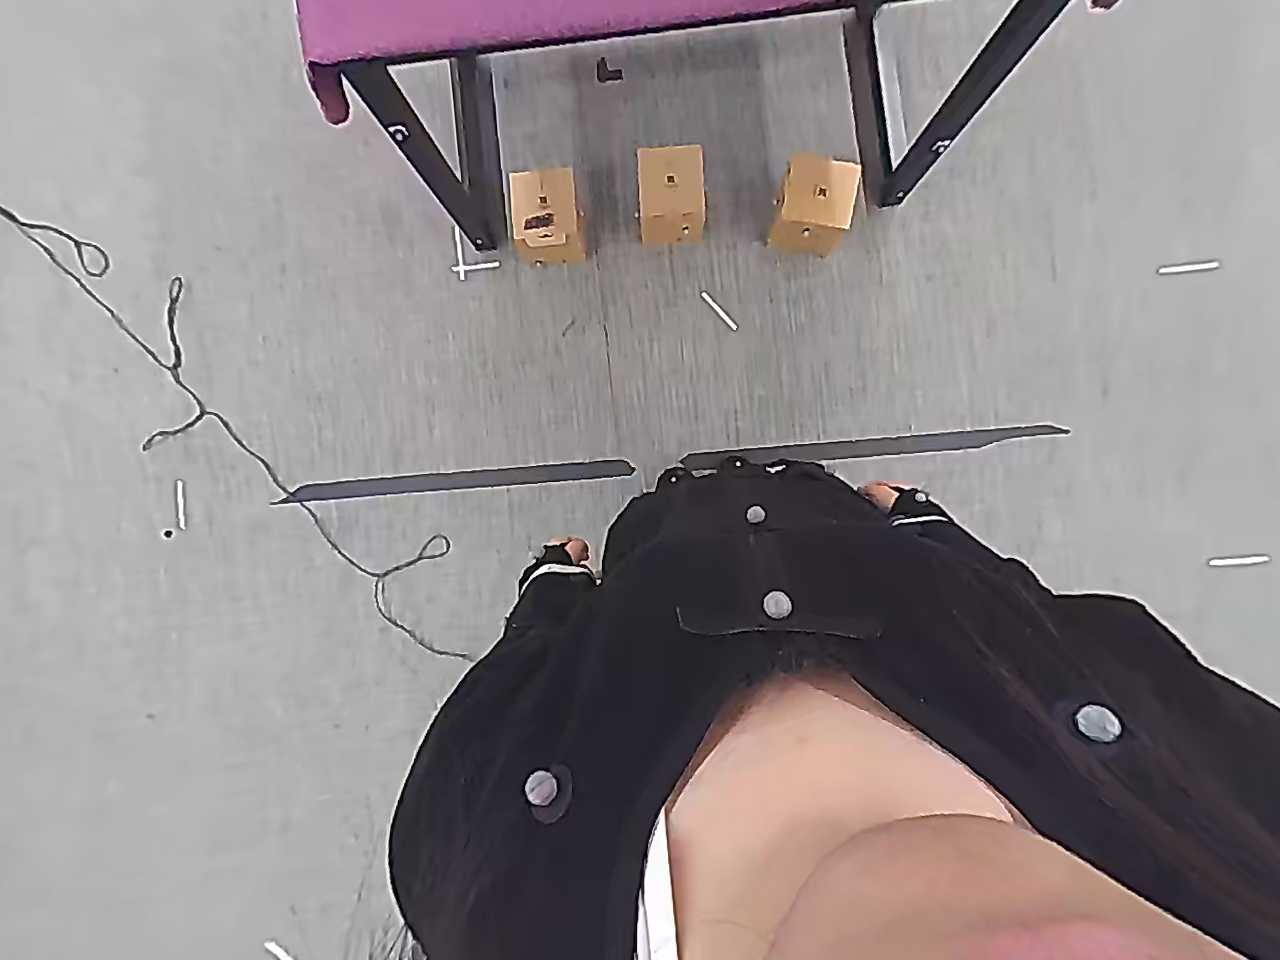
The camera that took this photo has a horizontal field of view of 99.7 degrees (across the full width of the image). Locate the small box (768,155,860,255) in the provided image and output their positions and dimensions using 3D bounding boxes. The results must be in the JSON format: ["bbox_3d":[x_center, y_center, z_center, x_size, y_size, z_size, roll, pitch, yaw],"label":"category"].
[{"bbox_3d":[0.450,-0.715,1.424,0.179,0.176,0.168,12,90,3],"label":"small box"}]

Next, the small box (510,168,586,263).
[{"bbox_3d":[-0.241,-0.694,1.443,0.168,0.176,0.179,-4,88,2],"label":"small box"}]

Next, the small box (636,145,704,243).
[{"bbox_3d":[0.079,-0.747,1.436,0.168,0.176,0.179,-4,88,1],"label":"small box"}]
